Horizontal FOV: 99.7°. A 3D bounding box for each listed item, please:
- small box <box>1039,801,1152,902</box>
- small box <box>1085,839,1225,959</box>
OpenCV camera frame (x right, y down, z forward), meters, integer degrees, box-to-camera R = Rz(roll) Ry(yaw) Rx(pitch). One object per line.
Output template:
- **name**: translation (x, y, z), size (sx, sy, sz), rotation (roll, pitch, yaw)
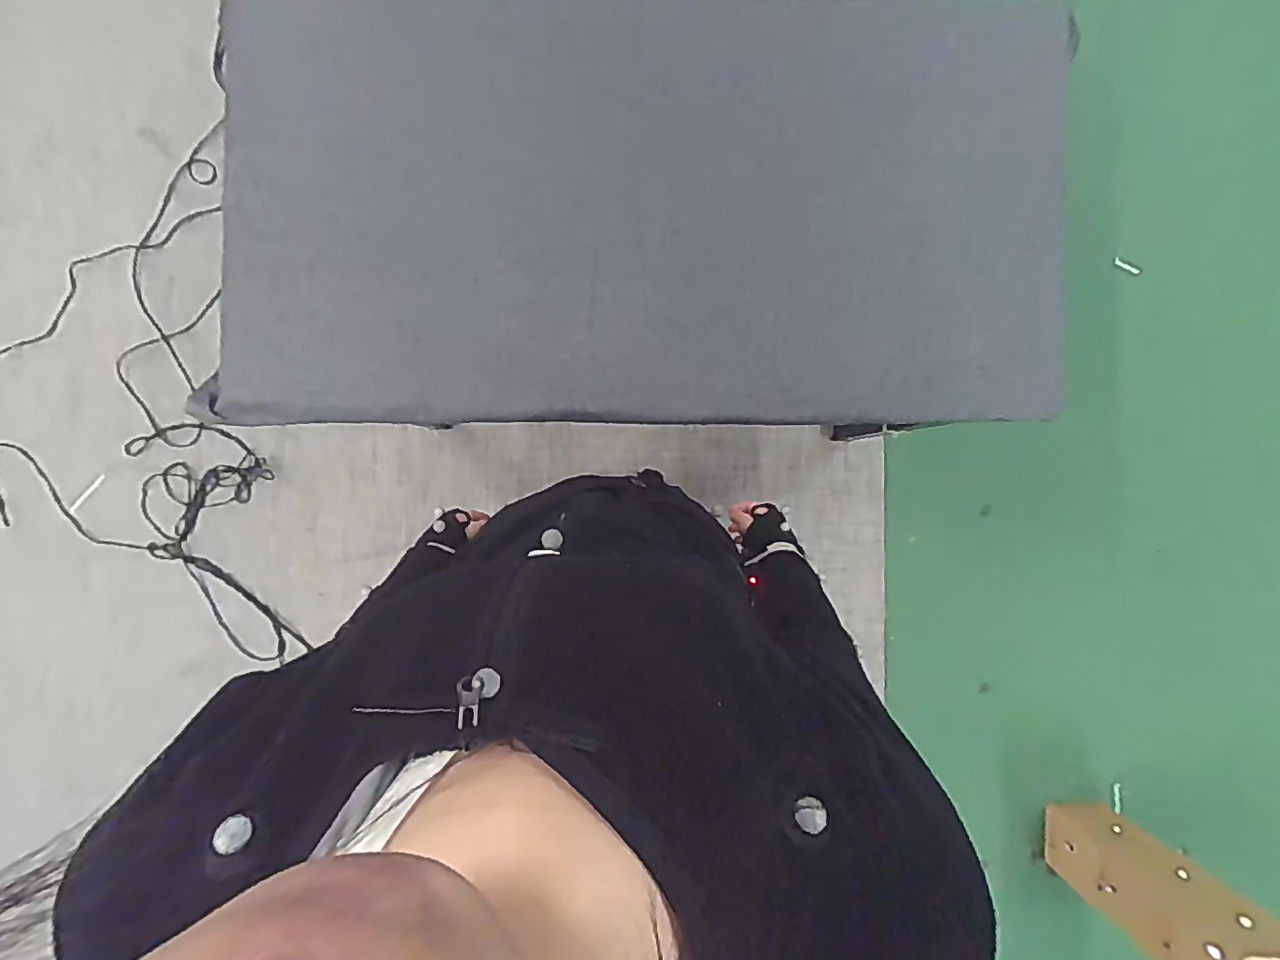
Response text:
- **small box**: translation (1.214, 0.993, 1.453), size (0.179, 0.176, 0.168), rotation (0, 90, -2)
- **small box**: translation (1.219, 0.990, 1.288), size (0.179, 0.176, 0.168), rotation (3, 89, -1)
